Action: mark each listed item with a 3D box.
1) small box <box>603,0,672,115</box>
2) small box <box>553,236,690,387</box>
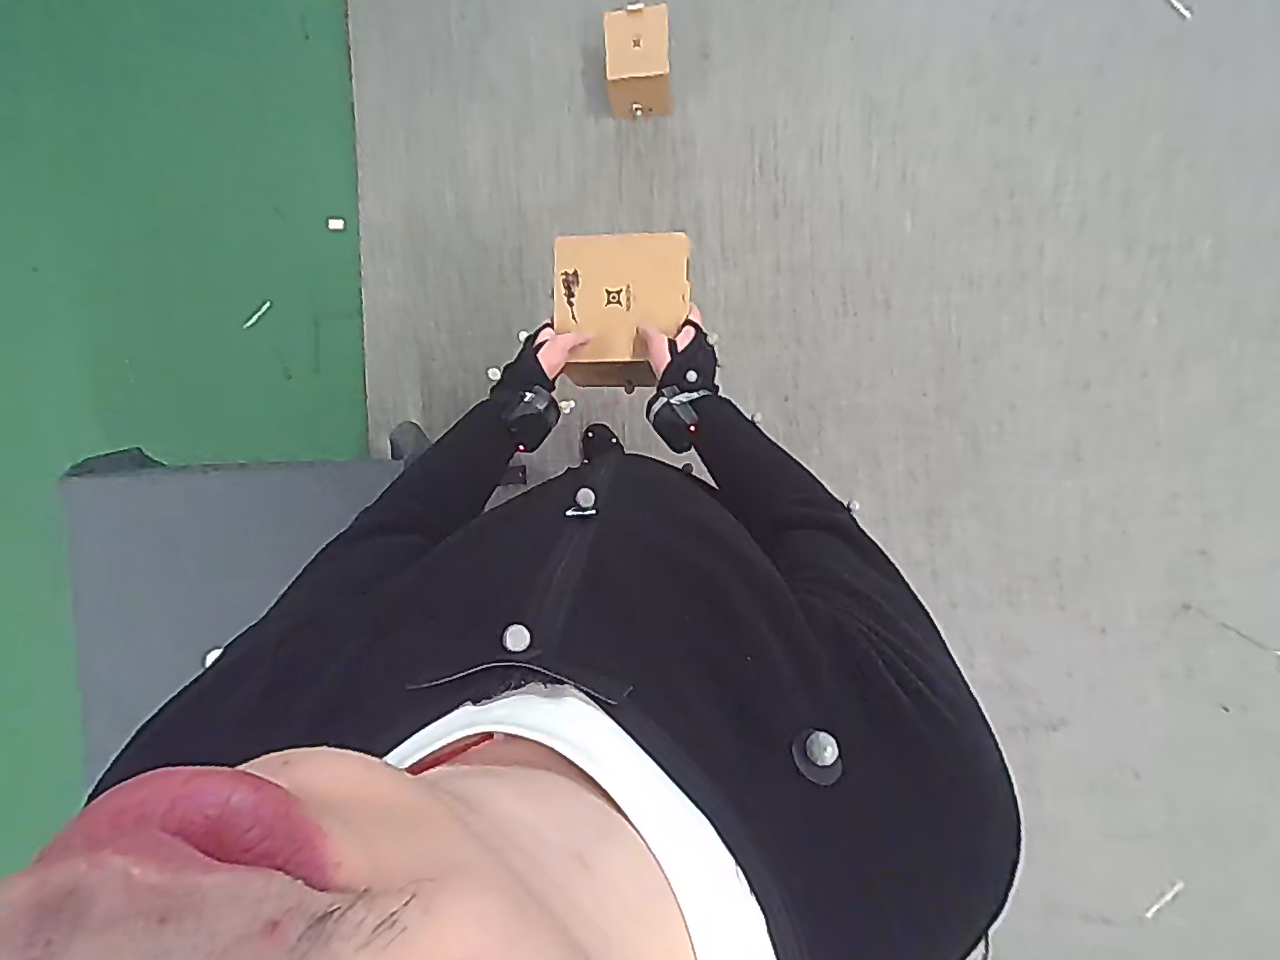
[{"bbox_3d":[-0.003,-1.121,1.445,0.168,0.176,0.179,0,92,7],"label":"small box"},{"bbox_3d":[-0.022,-0.230,0.773,0.179,0.176,0.168,1,89,3],"label":"small box"}]
